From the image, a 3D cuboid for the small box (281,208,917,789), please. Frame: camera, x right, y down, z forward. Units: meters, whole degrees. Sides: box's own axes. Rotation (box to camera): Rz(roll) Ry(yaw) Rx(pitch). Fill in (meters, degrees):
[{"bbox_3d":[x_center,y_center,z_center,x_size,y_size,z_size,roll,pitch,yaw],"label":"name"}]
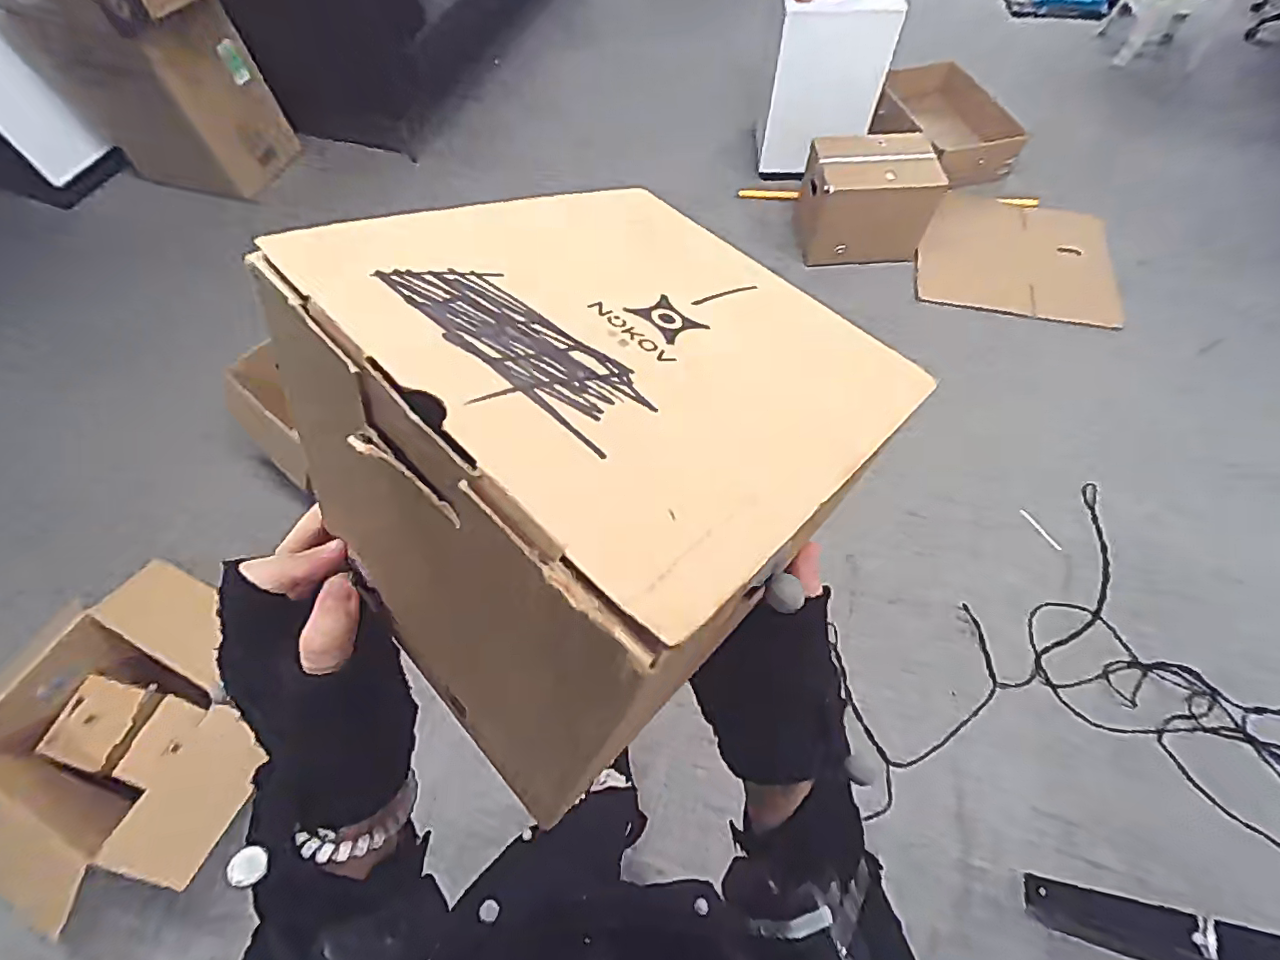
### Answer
[{"bbox_3d":[-0.019,0.003,0.252,0.168,0.176,0.179,42,49,20],"label":"small box"}]
